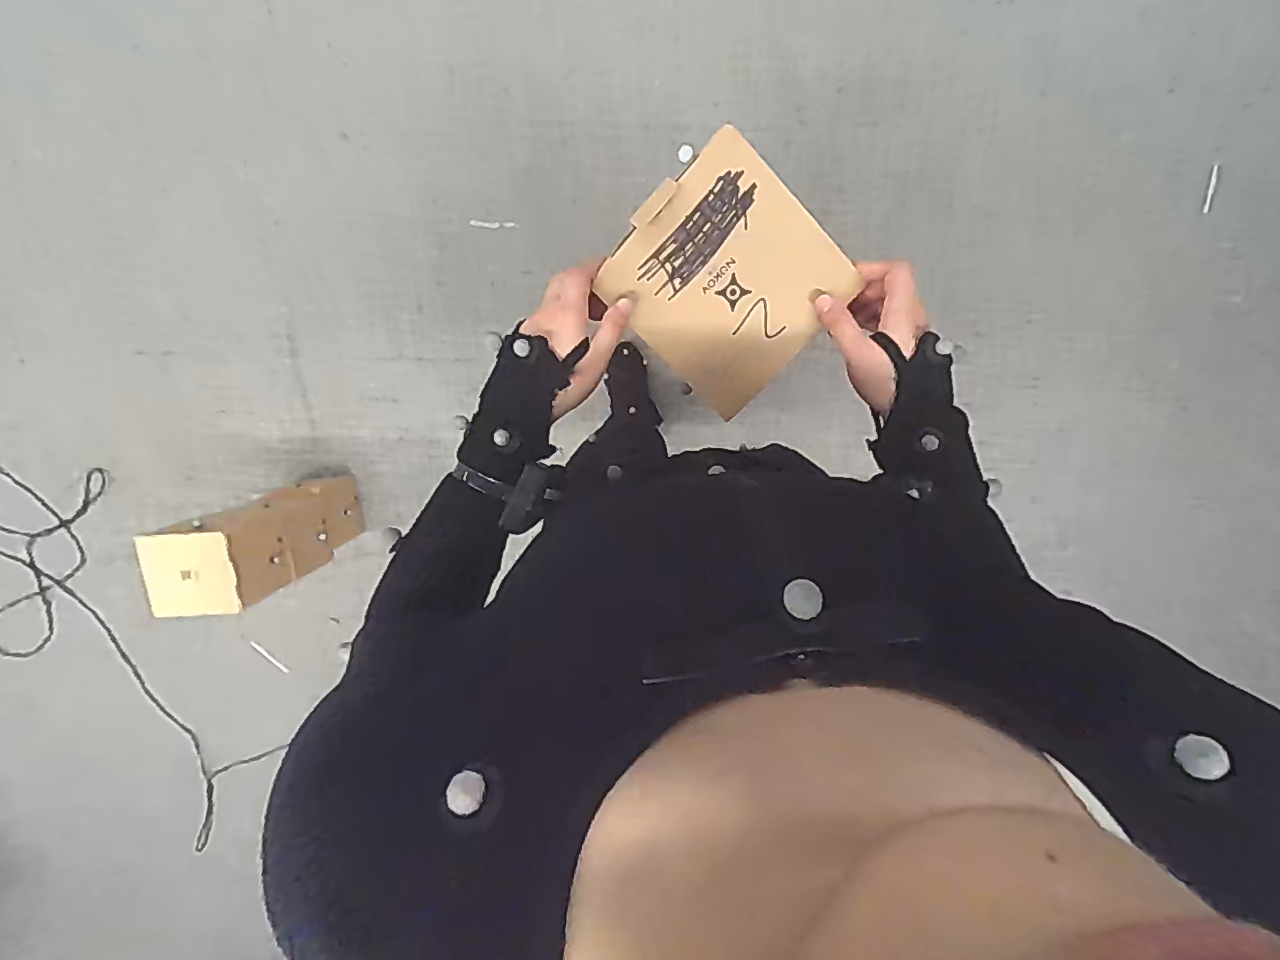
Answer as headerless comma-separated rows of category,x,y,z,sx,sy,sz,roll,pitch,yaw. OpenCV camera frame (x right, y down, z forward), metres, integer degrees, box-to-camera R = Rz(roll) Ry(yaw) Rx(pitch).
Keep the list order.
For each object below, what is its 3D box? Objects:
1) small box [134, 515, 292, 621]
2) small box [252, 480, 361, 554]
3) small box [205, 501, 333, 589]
small box,-0.856,0.172,1.101,0.179,0.176,0.168,-4,101,1
small box,-0.860,0.099,1.419,0.179,0.176,0.168,-6,100,3
small box,-0.858,0.148,1.262,0.179,0.176,0.168,-3,101,1
